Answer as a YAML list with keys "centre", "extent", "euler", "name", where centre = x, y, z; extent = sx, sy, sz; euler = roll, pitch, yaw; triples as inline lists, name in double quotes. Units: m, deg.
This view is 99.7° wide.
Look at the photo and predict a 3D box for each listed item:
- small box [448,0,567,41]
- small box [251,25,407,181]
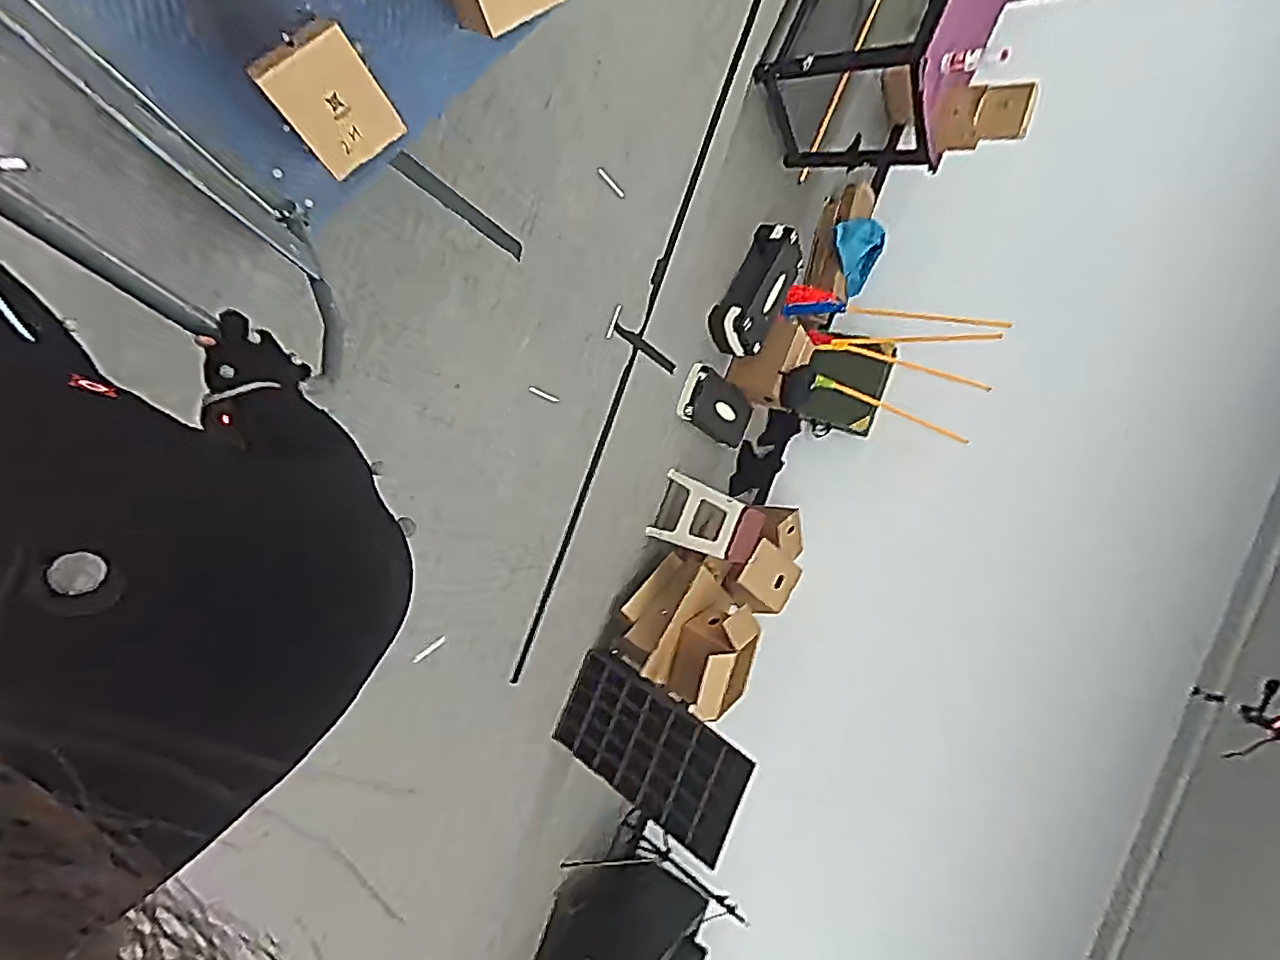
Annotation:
- centre: [-0.271, -0.962, 1.007]
  extent: [0.179, 0.176, 0.168]
  euler: [-35, 143, -9]
  name: "small box"
- centre: [-0.572, -0.694, 0.993]
  extent: [0.168, 0.176, 0.179]
  euler: [-39, 143, -5]
  name: "small box"
